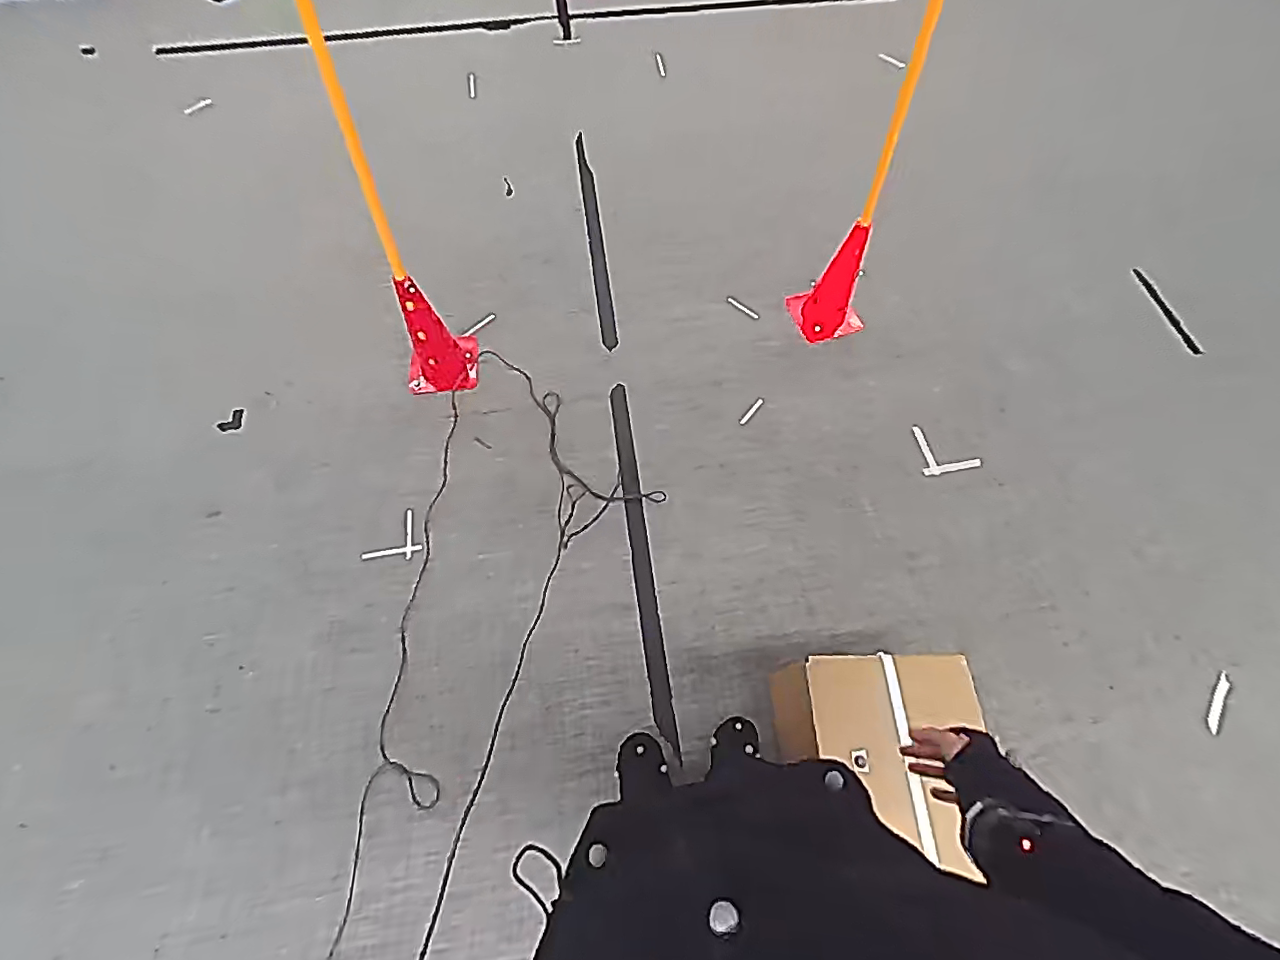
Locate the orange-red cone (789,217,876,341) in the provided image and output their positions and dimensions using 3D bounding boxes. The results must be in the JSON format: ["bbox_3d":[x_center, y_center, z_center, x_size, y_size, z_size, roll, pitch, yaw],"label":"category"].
[{"bbox_3d":[0.601,-0.610,1.583,0.199,0.360,0.198,-15,67,-9],"label":"orange-red cone"}]
